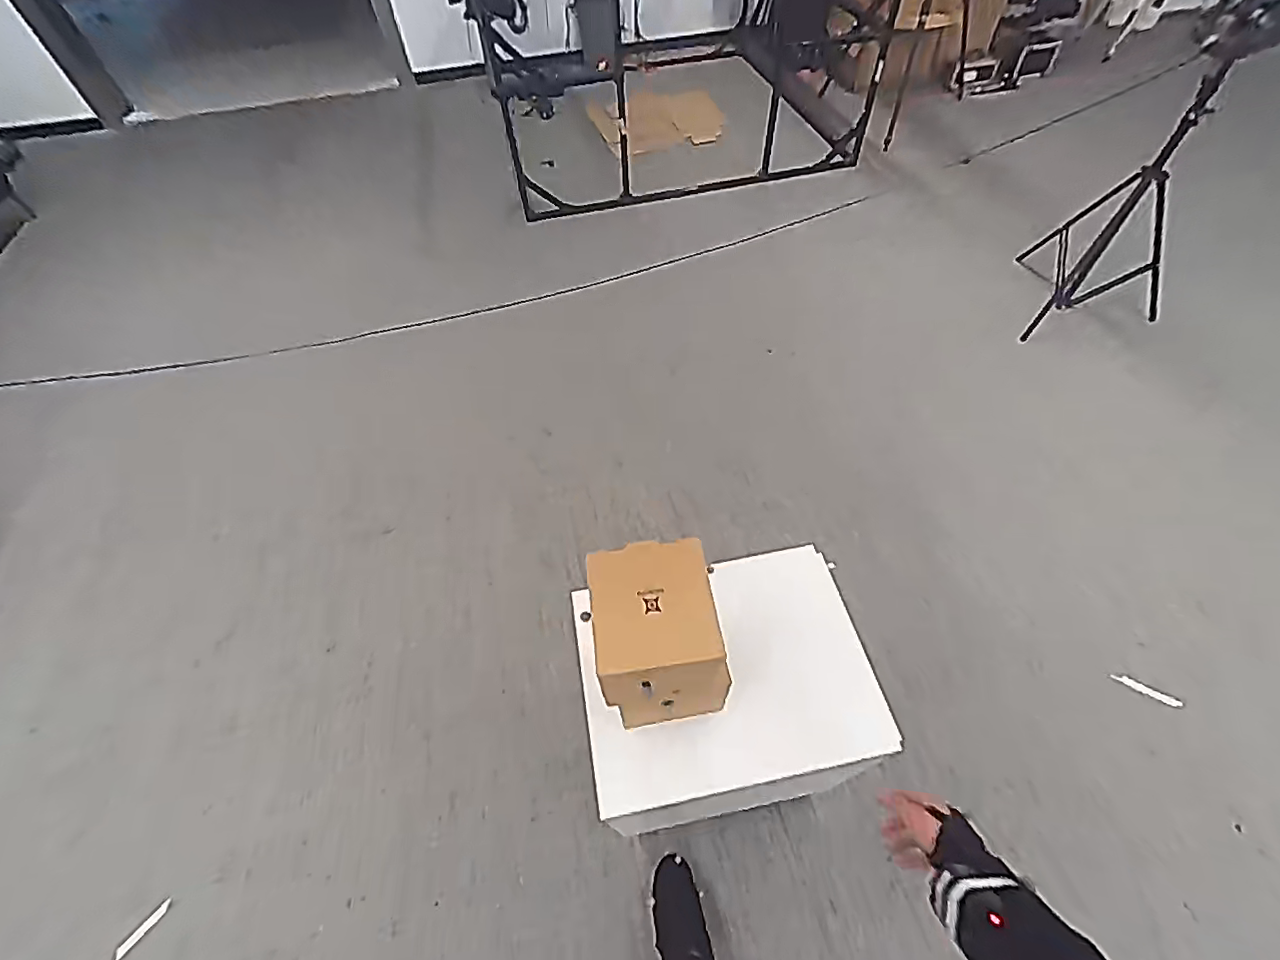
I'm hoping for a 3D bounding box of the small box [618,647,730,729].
[{"bbox_3d":[0.042,0.306,0.914,0.179,0.176,0.168,-9,54,-5],"label":"small box"}]

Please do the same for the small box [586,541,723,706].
[{"bbox_3d":[0.018,0.214,0.781,0.168,0.176,0.179,-8,53,-3],"label":"small box"}]
